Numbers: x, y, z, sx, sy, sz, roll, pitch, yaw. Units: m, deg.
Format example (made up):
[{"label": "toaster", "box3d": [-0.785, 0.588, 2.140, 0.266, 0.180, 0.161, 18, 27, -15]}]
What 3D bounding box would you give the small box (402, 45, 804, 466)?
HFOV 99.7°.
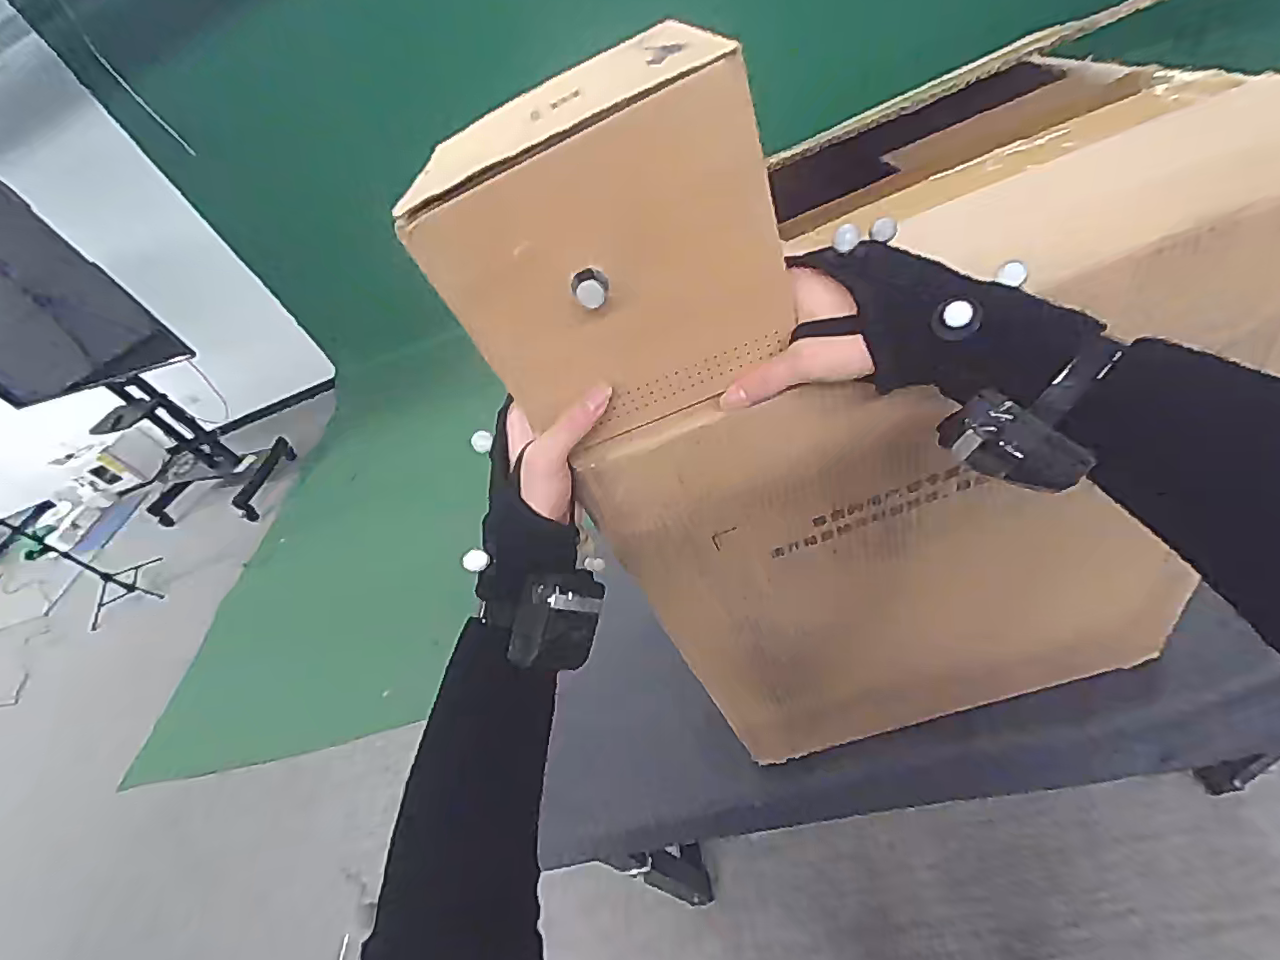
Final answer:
[{"label": "small box", "box3d": [-0.014, -0.137, 0.352, 0.179, 0.176, 0.168, -22, 43, 9]}]
